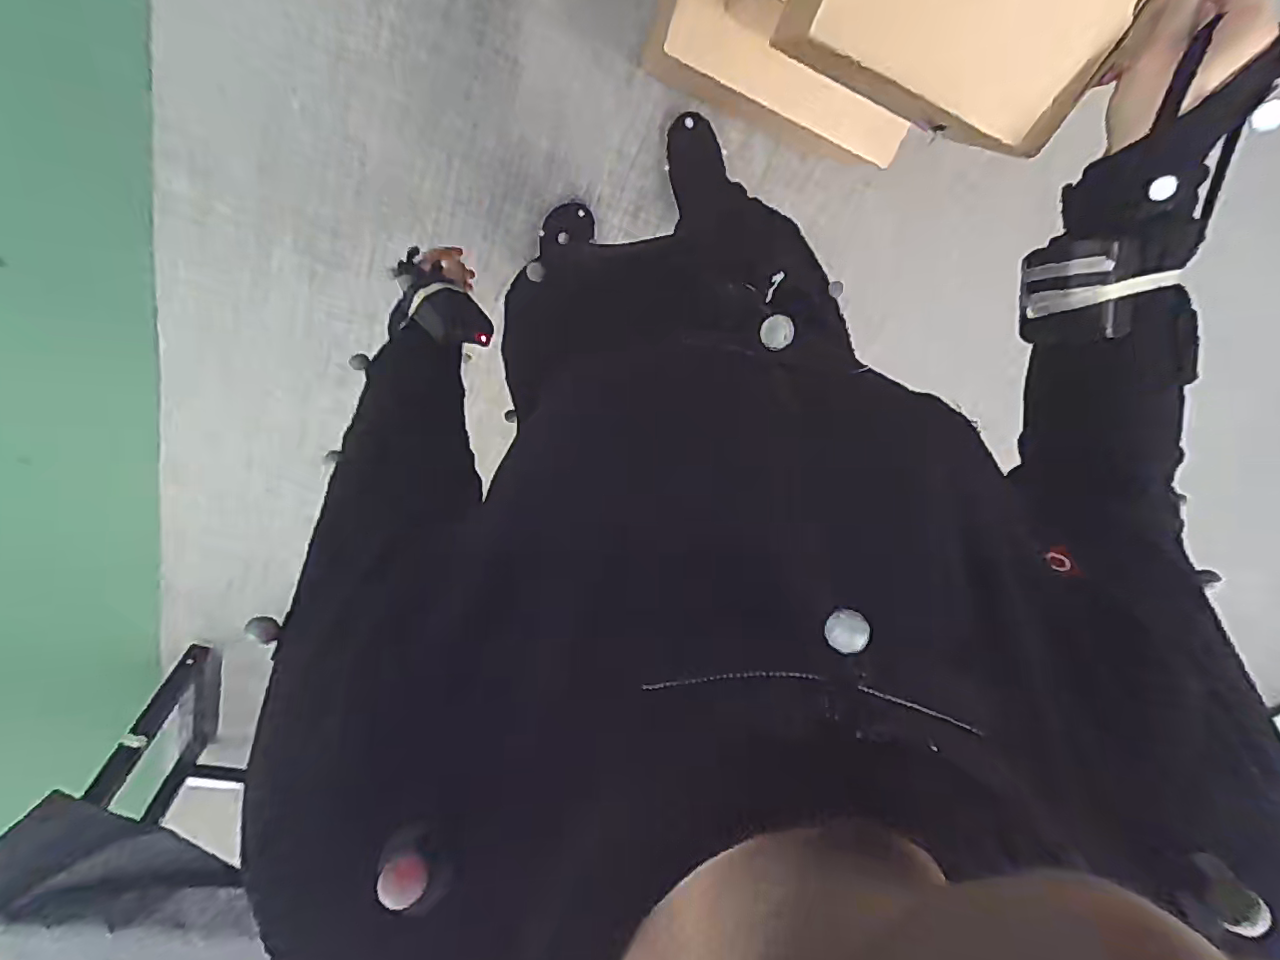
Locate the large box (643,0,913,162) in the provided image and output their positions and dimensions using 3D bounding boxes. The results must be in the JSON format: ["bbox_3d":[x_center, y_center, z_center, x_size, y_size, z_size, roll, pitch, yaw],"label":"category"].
[{"bbox_3d":[0.255,-0.764,0.874,0.408,0.320,0.320,15,121,-17],"label":"large box"}]

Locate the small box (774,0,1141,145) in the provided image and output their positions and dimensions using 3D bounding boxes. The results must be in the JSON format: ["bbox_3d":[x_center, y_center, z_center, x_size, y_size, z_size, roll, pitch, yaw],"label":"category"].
[{"bbox_3d":[0.212,-0.353,0.356,0.179,0.176,0.168,19,124,-11],"label":"small box"}]
